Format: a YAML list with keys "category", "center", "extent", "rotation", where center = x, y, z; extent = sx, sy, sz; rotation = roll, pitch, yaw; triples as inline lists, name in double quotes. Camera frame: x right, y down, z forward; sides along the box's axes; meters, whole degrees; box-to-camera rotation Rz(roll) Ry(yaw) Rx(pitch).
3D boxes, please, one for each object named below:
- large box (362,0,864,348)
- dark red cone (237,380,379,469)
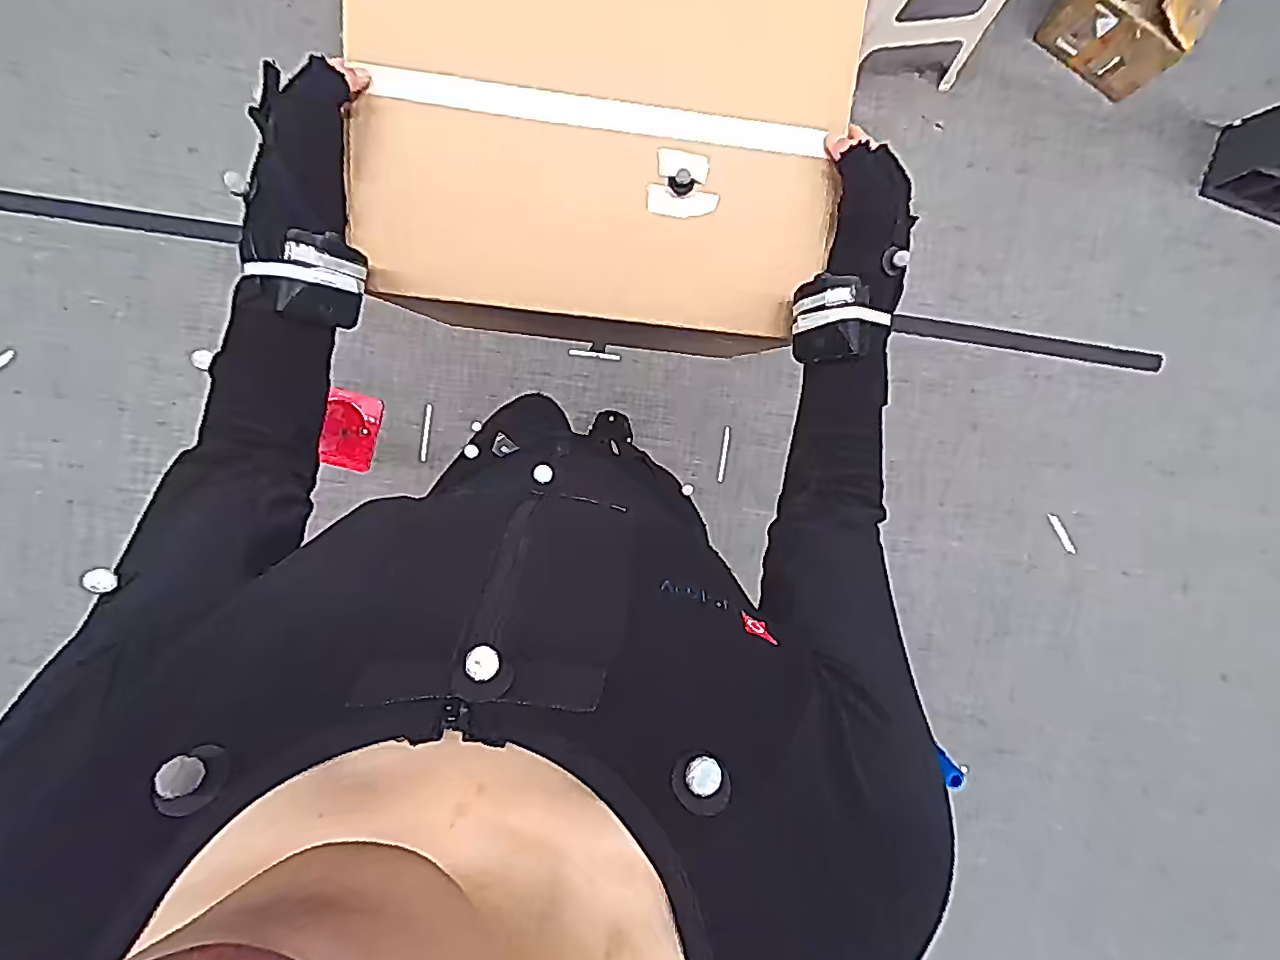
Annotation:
- category: "large box"
  center: [-0.036, -0.327, 0.590]
  extent: [0.408, 0.320, 0.320]
  rotation: [5, 100, -6]
- category: "dark red cone"
  center: [-0.767, -0.134, 1.220]
  extent: [0.201, 0.394, 0.202]
  rotation: [13, 93, -5]
